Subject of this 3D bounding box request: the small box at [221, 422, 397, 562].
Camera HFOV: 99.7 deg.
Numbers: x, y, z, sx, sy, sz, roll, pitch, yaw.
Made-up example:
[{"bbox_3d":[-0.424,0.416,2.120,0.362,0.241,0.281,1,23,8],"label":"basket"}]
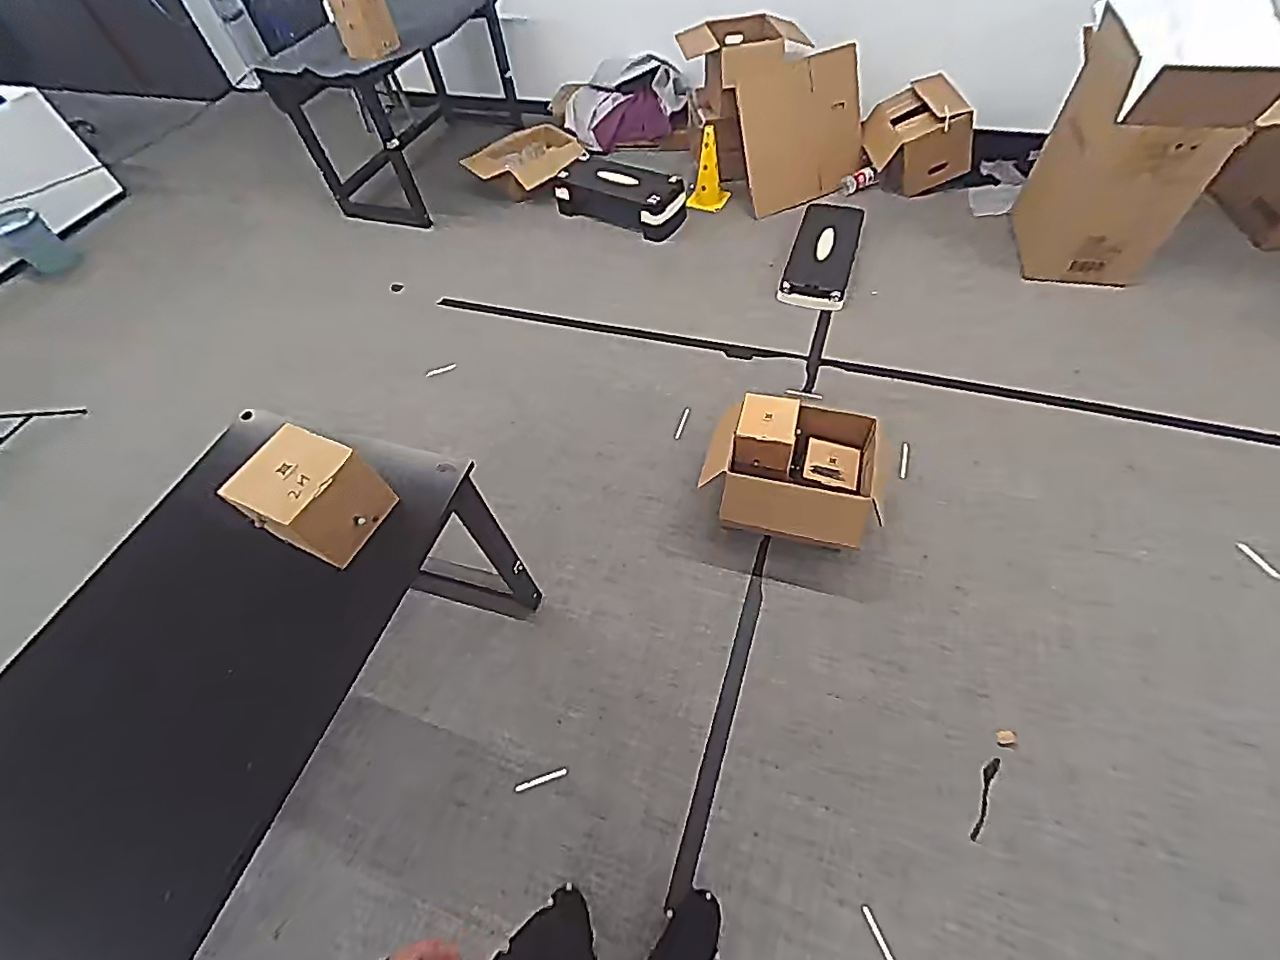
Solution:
[{"bbox_3d":[-0.593,0.026,0.990,0.179,0.176,0.168,20,61,18],"label":"small box"}]
